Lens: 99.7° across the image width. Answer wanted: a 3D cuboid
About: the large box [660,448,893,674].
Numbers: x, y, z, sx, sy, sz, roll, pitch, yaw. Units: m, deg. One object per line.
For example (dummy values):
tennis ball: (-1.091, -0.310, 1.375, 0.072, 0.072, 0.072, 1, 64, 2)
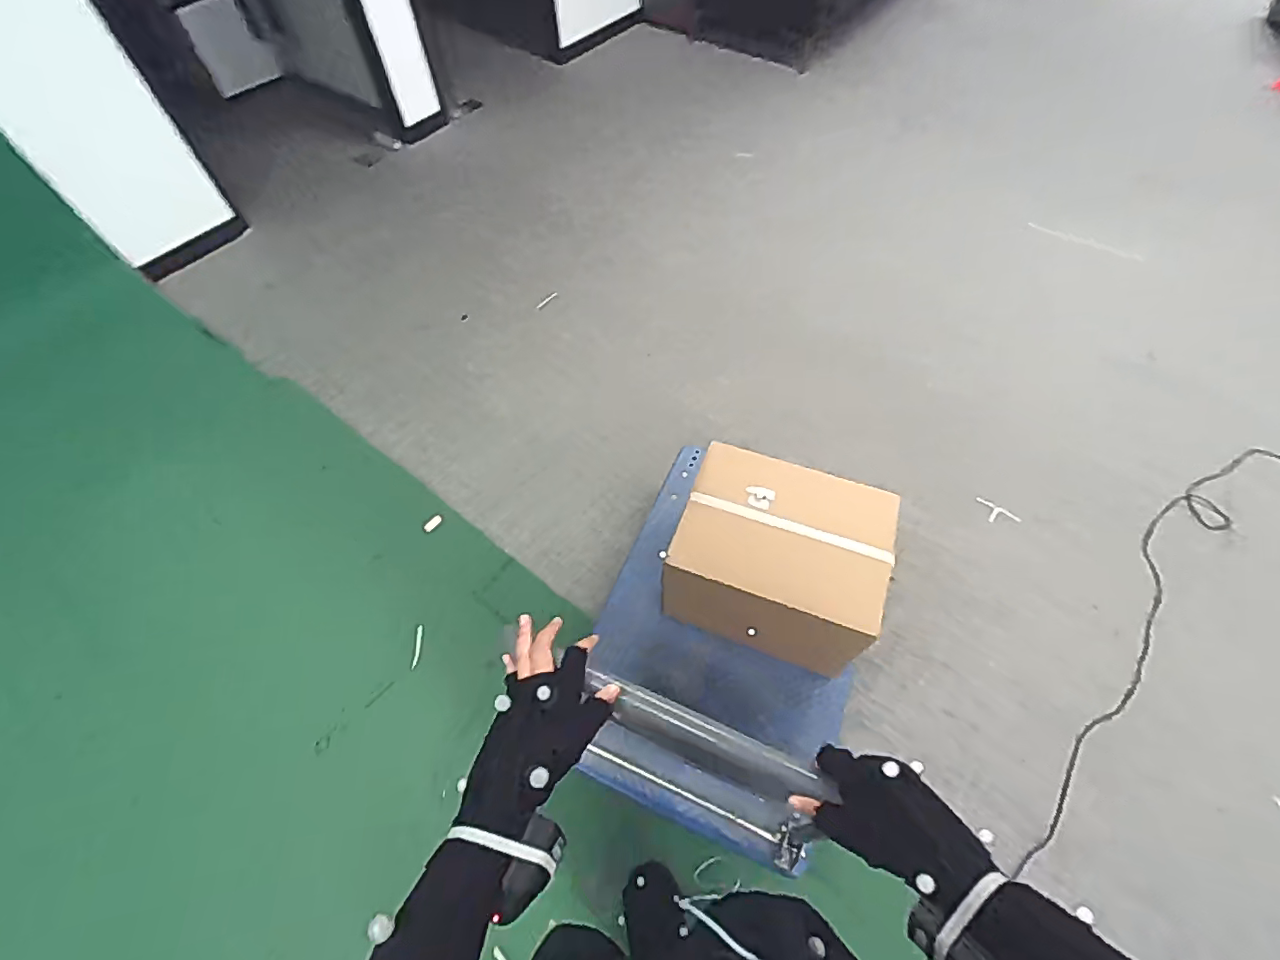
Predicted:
large box: (0.285, 0.182, 1.191, 0.408, 0.320, 0.320, 17, 59, 14)
